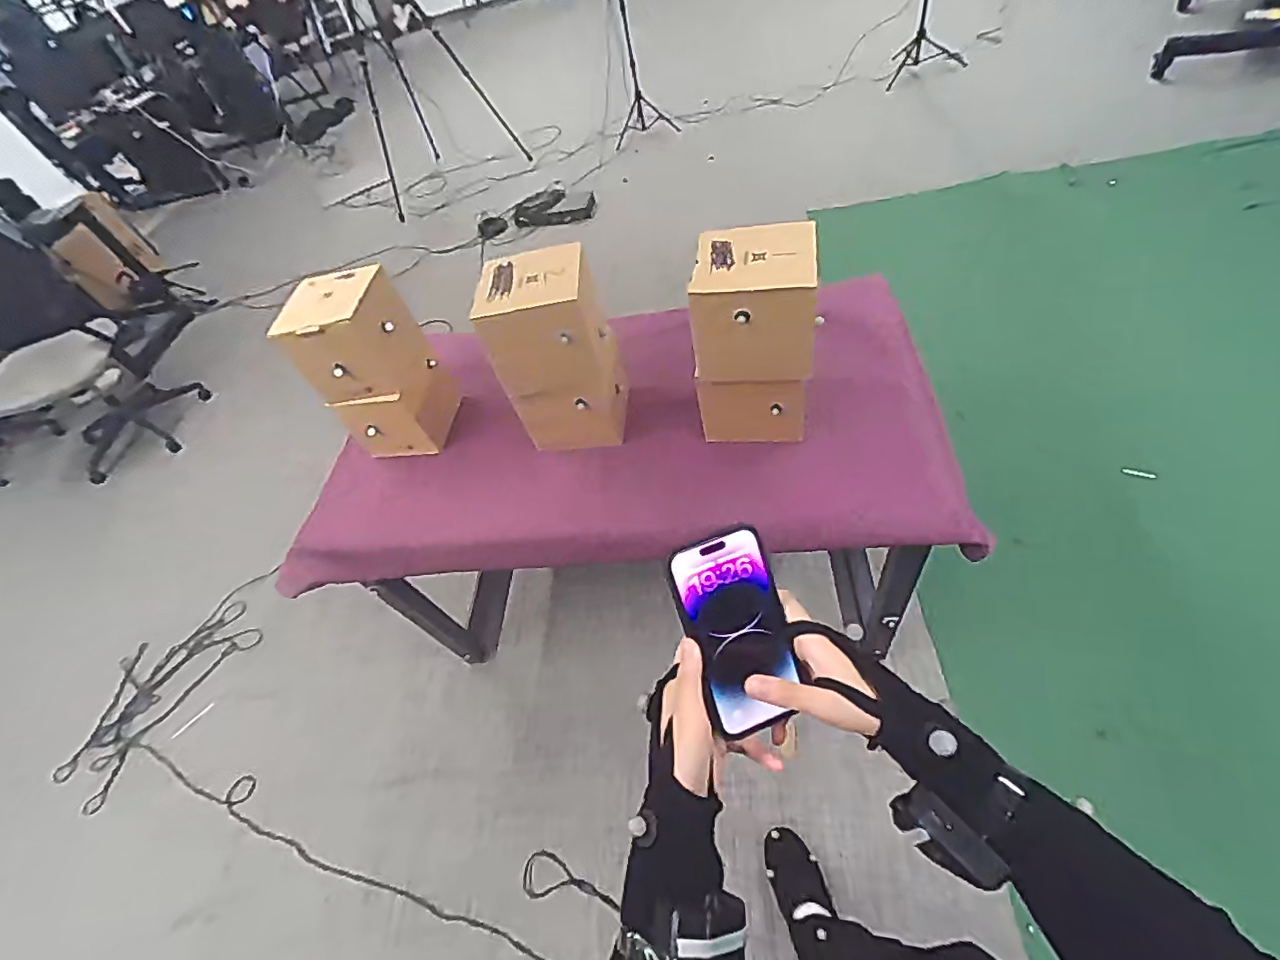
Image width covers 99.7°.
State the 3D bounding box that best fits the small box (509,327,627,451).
[{"bbox_3d":[-0.128,-0.171,1.055,0.179,0.176,0.168,-3,52,12],"label":"small box"}]

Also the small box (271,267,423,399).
[{"bbox_3d":[-0.540,-0.270,1.028,0.168,0.176,0.179,-7,52,9],"label":"small box"}]

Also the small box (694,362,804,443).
[{"bbox_3d":[0.204,-0.179,0.976,0.179,0.176,0.168,1,53,17],"label":"small box"}]

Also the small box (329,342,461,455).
[{"bbox_3d":[-0.507,-0.165,1.150,0.168,0.176,0.179,-3,52,12],"label":"small box"}]

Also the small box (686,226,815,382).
[{"bbox_3d":[0.178,-0.266,0.839,0.179,0.176,0.168,2,53,15],"label":"small box"}]
